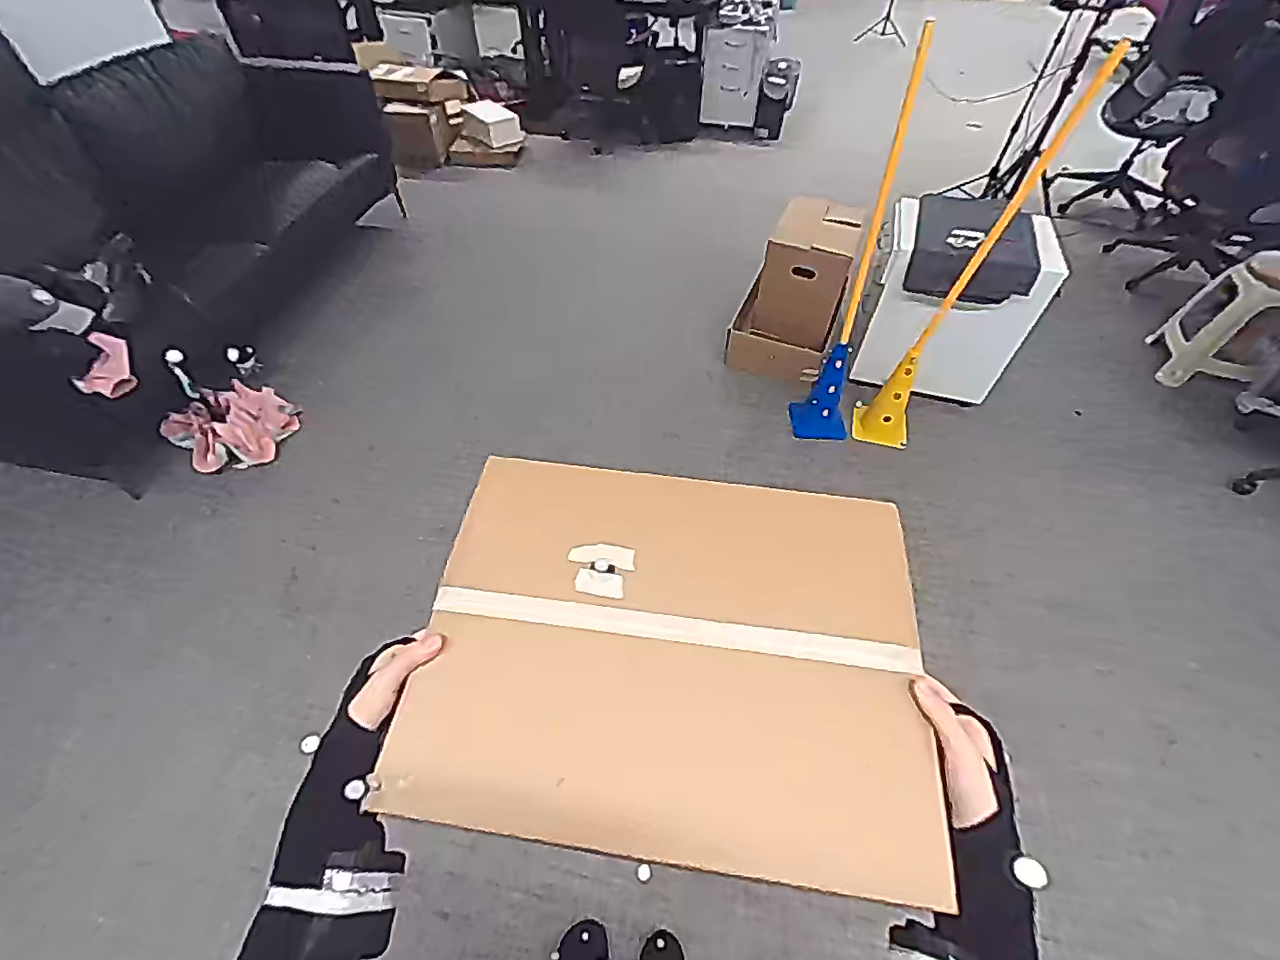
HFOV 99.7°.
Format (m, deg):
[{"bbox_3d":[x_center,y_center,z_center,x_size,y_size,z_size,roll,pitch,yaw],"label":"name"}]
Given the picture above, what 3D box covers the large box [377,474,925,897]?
[{"bbox_3d":[0.023,0.219,0.589,0.408,0.320,0.320,6,56,5],"label":"large box"}]
